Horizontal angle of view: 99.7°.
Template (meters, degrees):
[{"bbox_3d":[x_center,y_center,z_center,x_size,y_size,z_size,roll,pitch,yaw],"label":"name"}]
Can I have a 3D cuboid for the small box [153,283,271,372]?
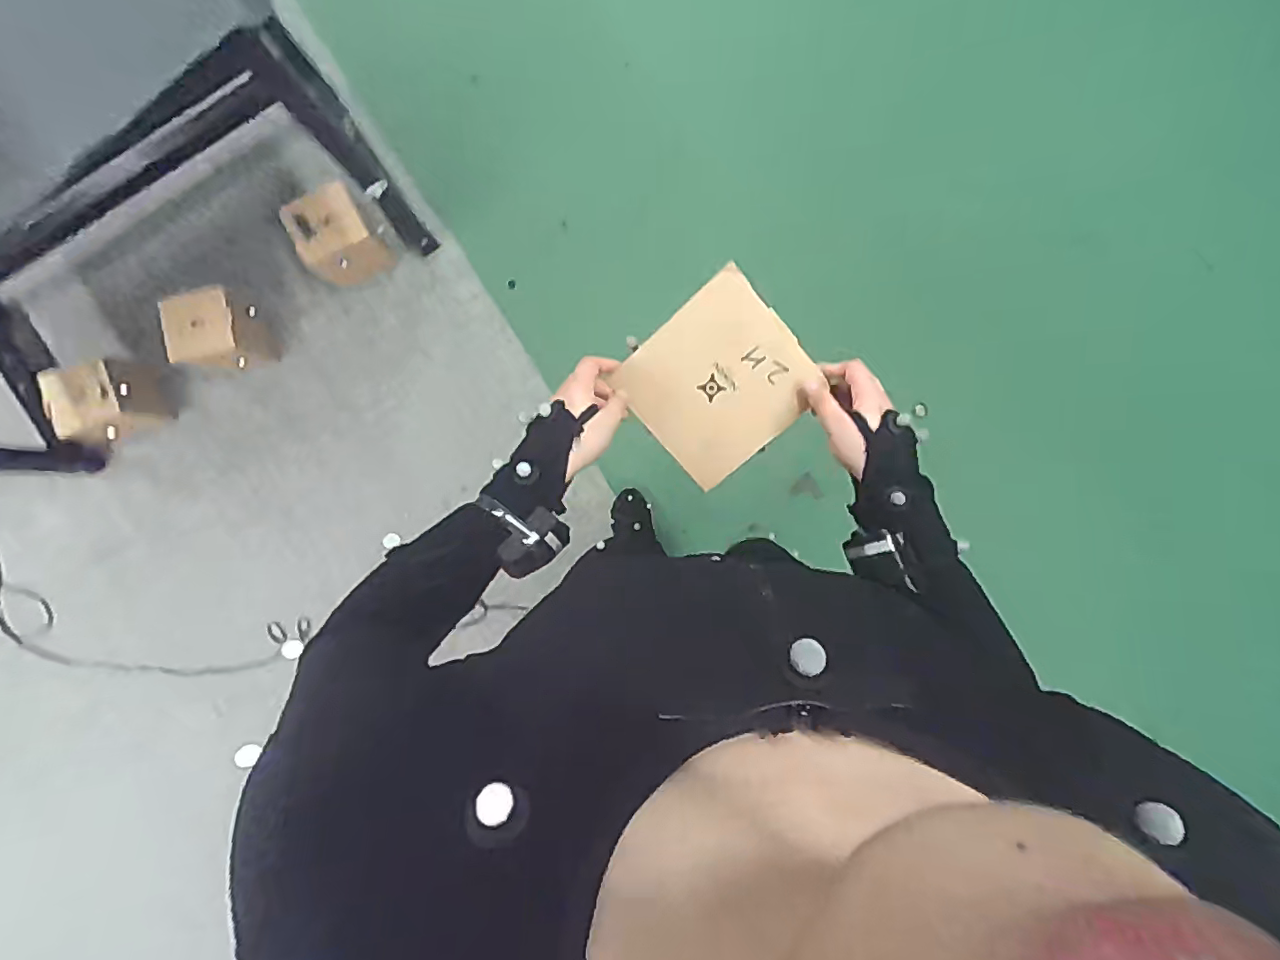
[{"bbox_3d":[-1.111,-0.394,1.421,0.179,0.176,0.168,-13,88,2],"label":"small box"}]

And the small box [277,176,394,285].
[{"bbox_3d":[-0.791,-0.645,1.420,0.179,0.176,0.168,-27,89,-1],"label":"small box"}]

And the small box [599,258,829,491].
[{"bbox_3d":[0.078,-0.121,0.620,0.179,0.176,0.168,-42,101,13],"label":"small box"}]

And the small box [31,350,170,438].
[{"bbox_3d":[-1.410,-0.218,1.423,0.179,0.176,0.168,-21,89,1],"label":"small box"}]
